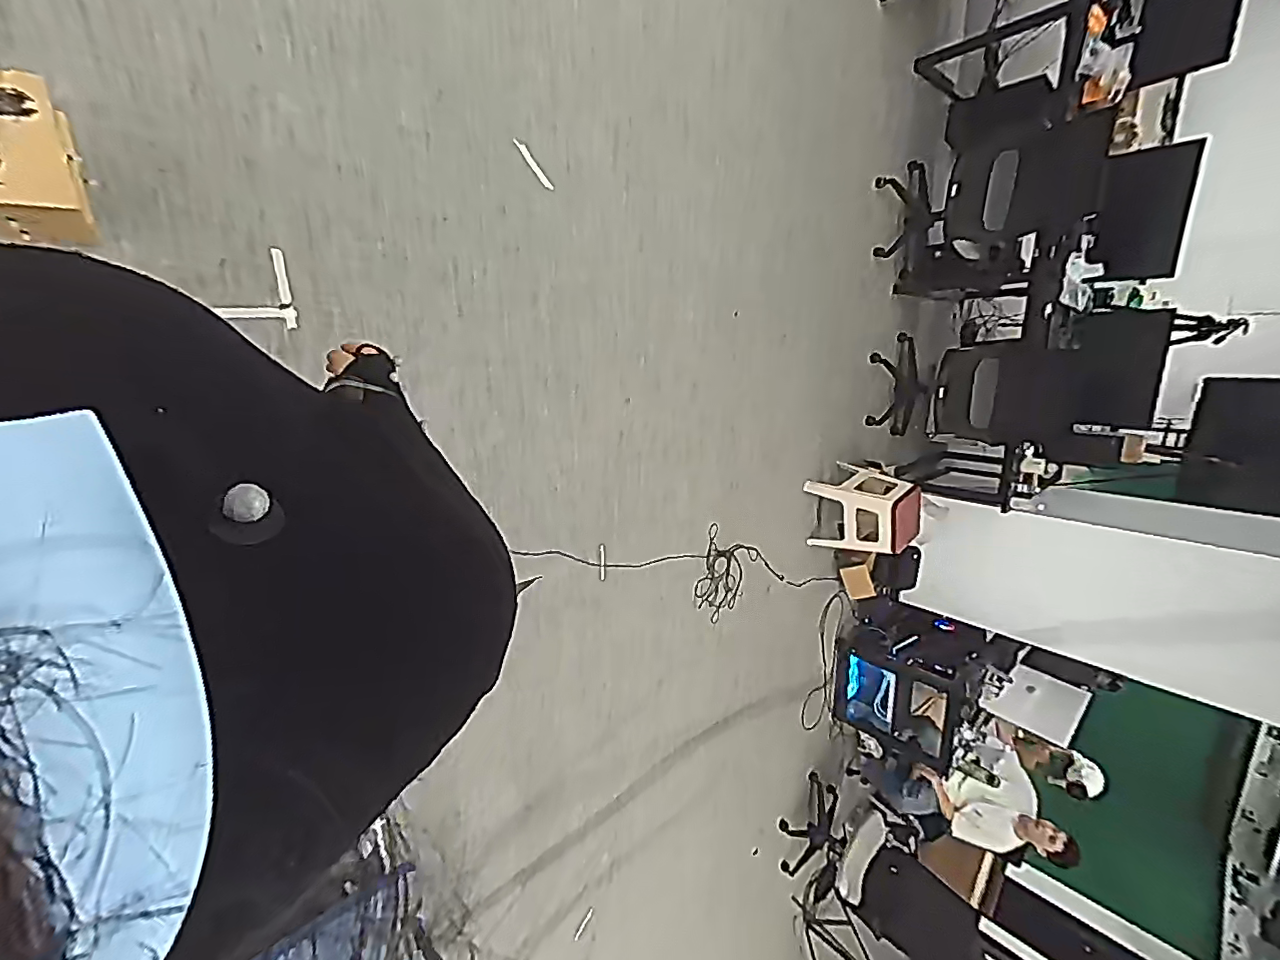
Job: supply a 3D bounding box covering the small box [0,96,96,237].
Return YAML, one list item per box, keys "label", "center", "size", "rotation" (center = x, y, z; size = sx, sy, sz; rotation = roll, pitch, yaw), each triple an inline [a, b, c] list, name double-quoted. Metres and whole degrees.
- label: "small box"
  center: [-1.048, -0.520, 0.904]
  size: [0.168, 0.176, 0.179]
  rotation: [-15, 110, -40]
